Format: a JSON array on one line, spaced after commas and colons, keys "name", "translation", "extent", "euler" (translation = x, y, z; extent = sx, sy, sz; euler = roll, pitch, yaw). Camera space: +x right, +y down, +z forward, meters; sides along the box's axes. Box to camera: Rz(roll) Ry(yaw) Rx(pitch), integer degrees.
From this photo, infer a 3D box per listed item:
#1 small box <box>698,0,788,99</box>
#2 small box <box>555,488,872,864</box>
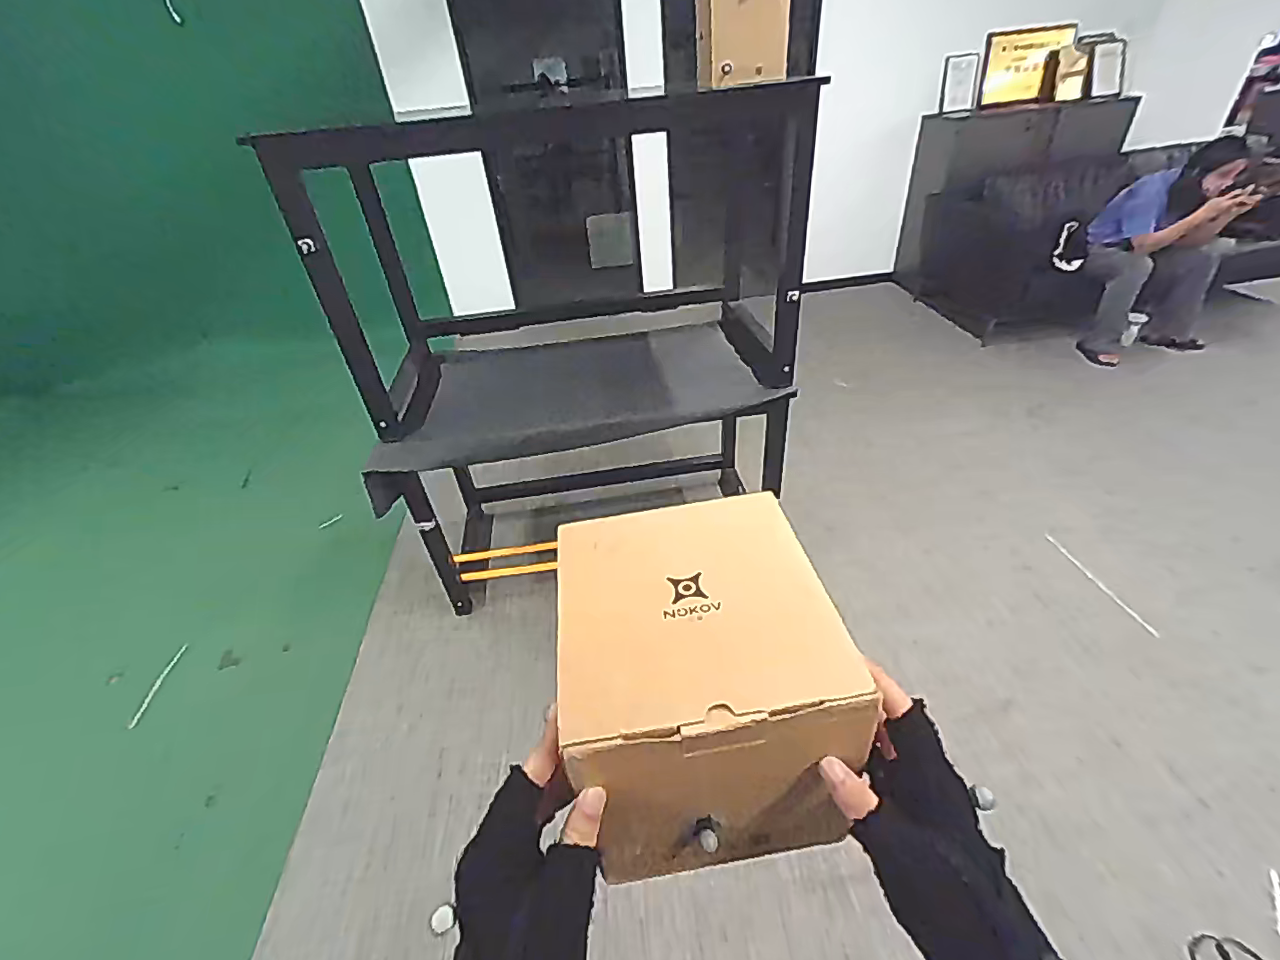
[{"name": "small box", "translation": [0.227, -0.967, 1.210], "extent": [0.168, 0.176, 0.179], "euler": [-7, 35, -1]}, {"name": "small box", "translation": [0.036, 0.130, 0.385], "extent": [0.168, 0.176, 0.179], "euler": [-9, 35, -3]}]
